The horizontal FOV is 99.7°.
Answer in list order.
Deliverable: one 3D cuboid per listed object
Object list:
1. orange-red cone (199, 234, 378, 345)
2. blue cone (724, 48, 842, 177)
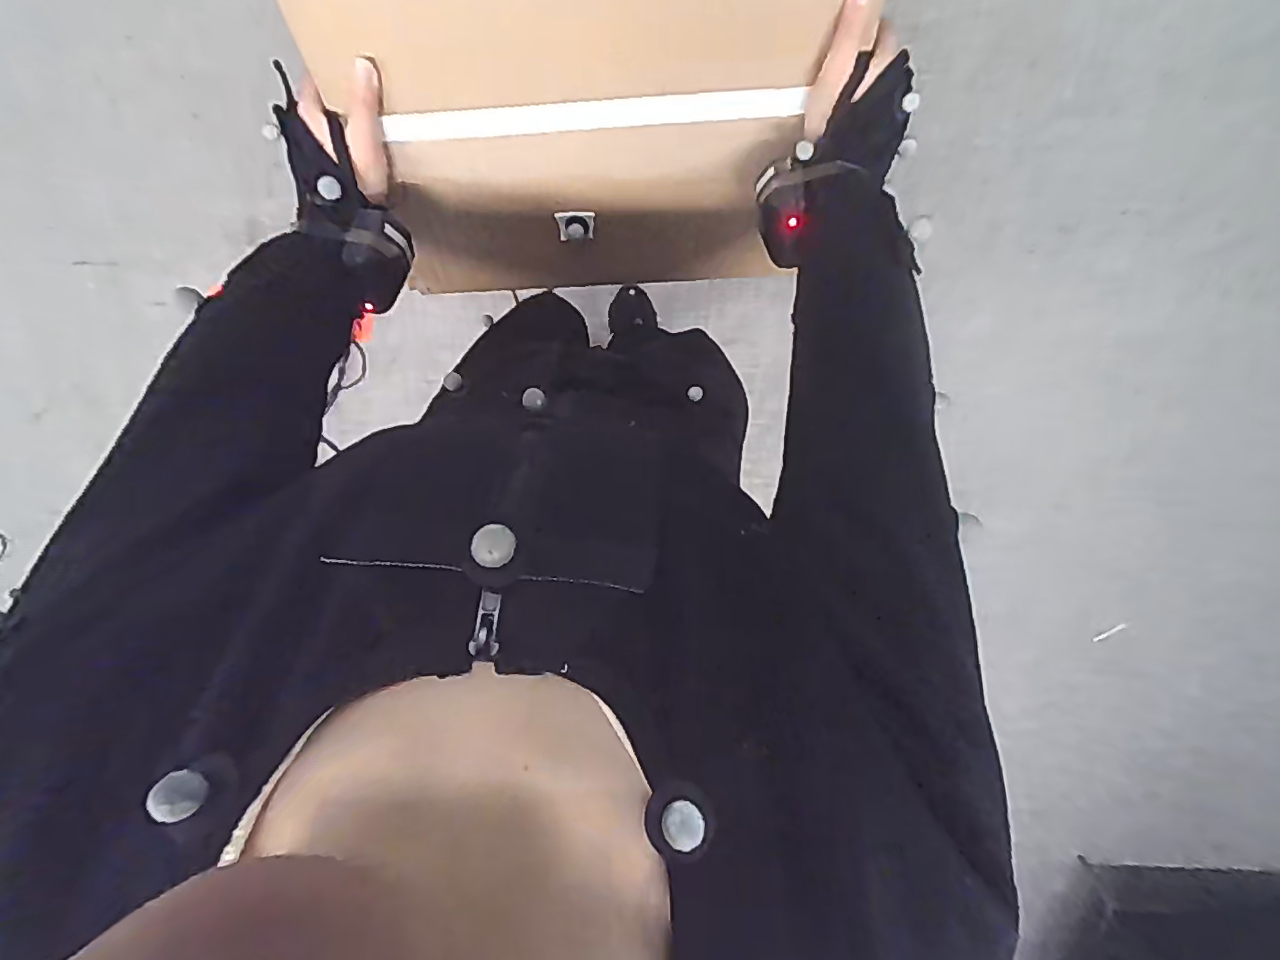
[{"bbox_3d":[-0.715,-0.369,1.066,0.199,0.360,0.198,21,110,-5],"label":"orange-red cone"},{"bbox_3d":[0.263,-0.660,0.938,0.192,0.380,0.193,2,112,1],"label":"blue cone"}]
